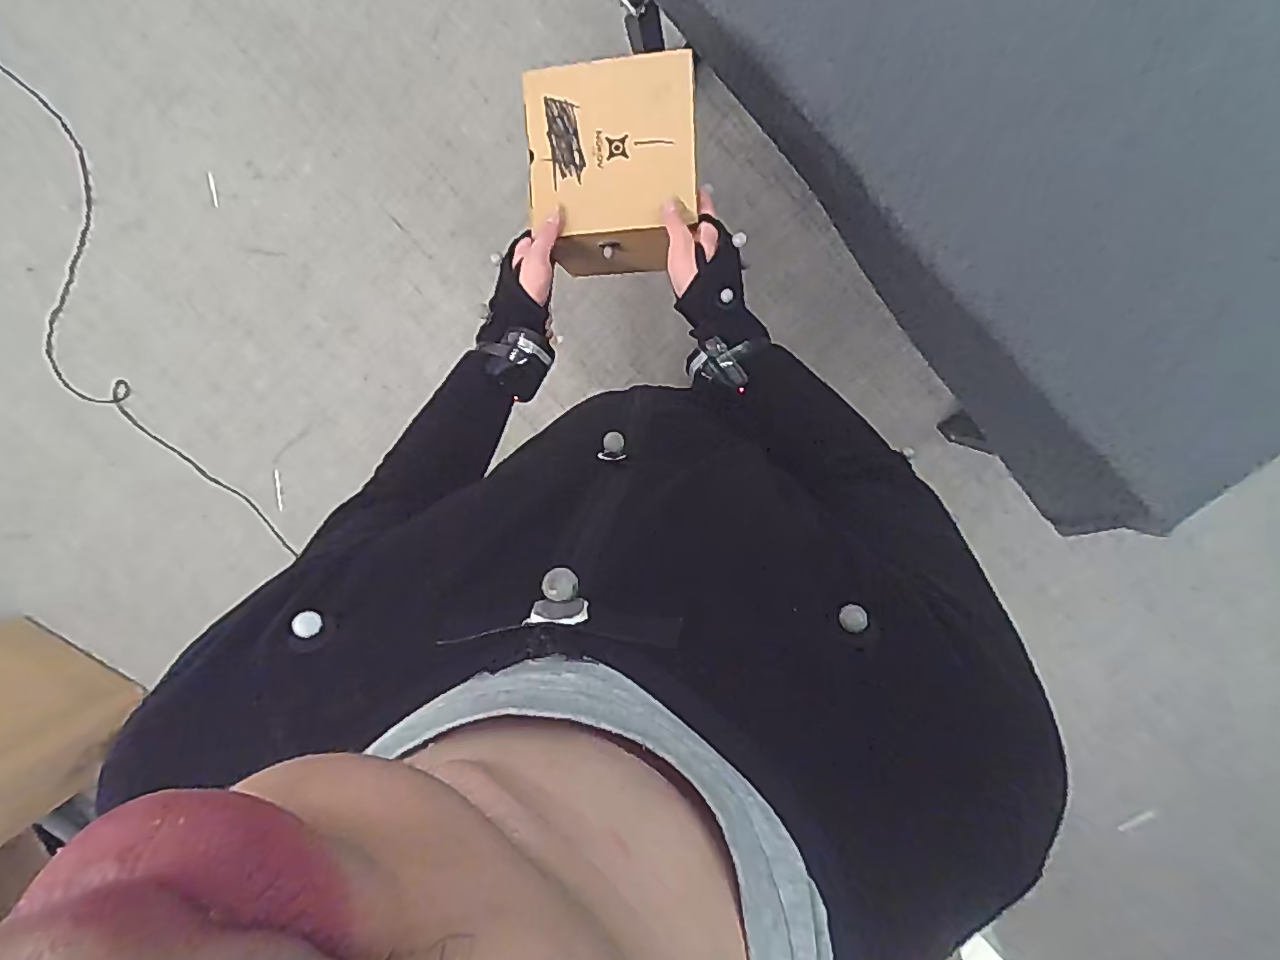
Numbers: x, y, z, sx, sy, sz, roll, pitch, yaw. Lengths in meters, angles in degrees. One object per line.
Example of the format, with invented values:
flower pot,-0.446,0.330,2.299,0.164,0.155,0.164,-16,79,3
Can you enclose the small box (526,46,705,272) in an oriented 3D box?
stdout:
small box,-0.016,-0.344,0.617,0.179,0.176,0.168,-2,98,6

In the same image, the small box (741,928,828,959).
small box,0.309,1.072,1.092,0.179,0.176,0.168,-39,96,13
